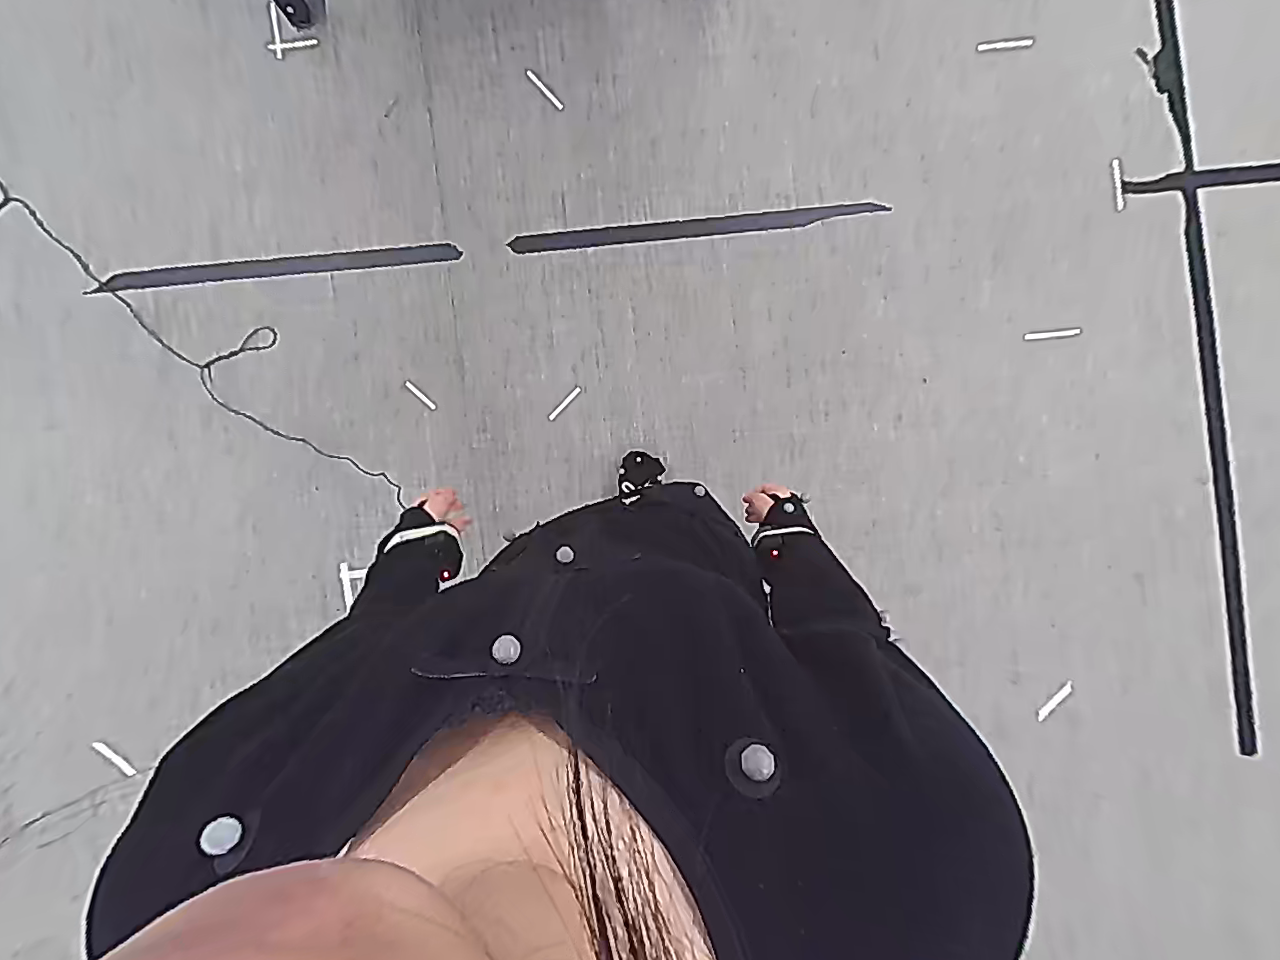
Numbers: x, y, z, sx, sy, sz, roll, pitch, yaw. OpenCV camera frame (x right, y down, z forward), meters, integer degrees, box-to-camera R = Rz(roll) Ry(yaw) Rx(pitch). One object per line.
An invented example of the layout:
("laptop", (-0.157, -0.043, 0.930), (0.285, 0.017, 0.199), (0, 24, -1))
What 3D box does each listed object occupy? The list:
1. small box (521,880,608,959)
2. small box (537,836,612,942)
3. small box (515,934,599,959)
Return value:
("small box", (-0.170, 1.074, 1.260), (0.168, 0.176, 0.179), (-9, 91, 1))
("small box", (-0.167, 1.073, 1.422), (0.168, 0.176, 0.179), (-8, 90, 0))
("small box", (-0.174, 1.077, 1.098), (0.179, 0.176, 0.168), (-9, 90, 1))
